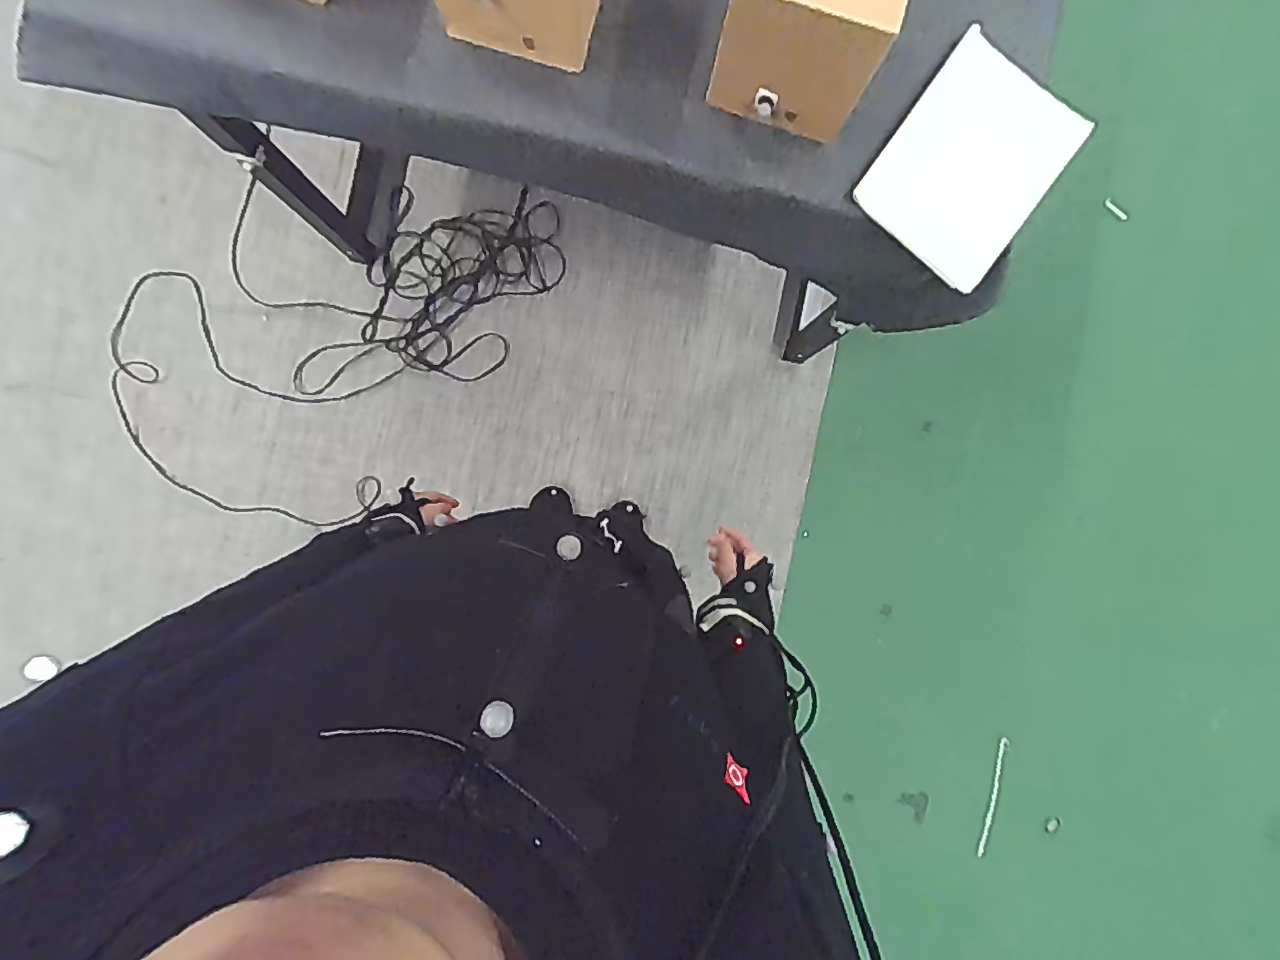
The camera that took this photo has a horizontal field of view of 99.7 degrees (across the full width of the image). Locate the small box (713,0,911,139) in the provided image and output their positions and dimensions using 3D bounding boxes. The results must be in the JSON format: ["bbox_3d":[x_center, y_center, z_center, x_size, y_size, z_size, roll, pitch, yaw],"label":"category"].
[{"bbox_3d":[0.186,-0.521,0.584,0.168,0.176,0.179,15,89,-2],"label":"small box"}]

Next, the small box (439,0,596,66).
[{"bbox_3d":[-0.127,-0.592,0.567,0.168,0.176,0.179,14,88,-3],"label":"small box"}]
